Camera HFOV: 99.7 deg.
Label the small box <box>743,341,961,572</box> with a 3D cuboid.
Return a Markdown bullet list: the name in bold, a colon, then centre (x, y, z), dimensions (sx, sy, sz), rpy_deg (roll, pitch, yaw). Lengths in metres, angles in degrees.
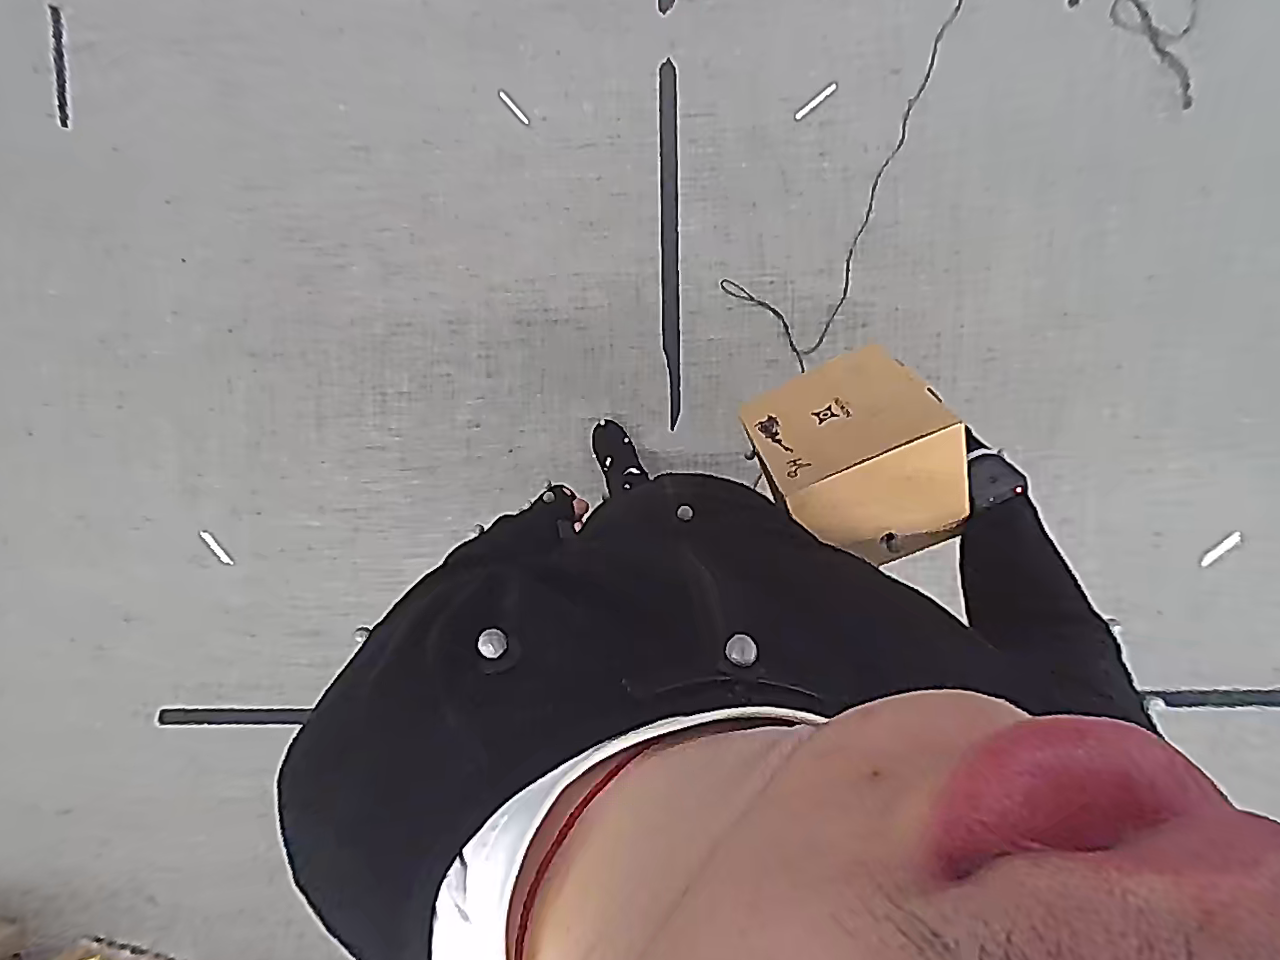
- **small box**: centre (0.243, -0.024, 0.630), dimensions (0.179, 0.168, 0.176), rpy_deg (-24, 129, 10)
